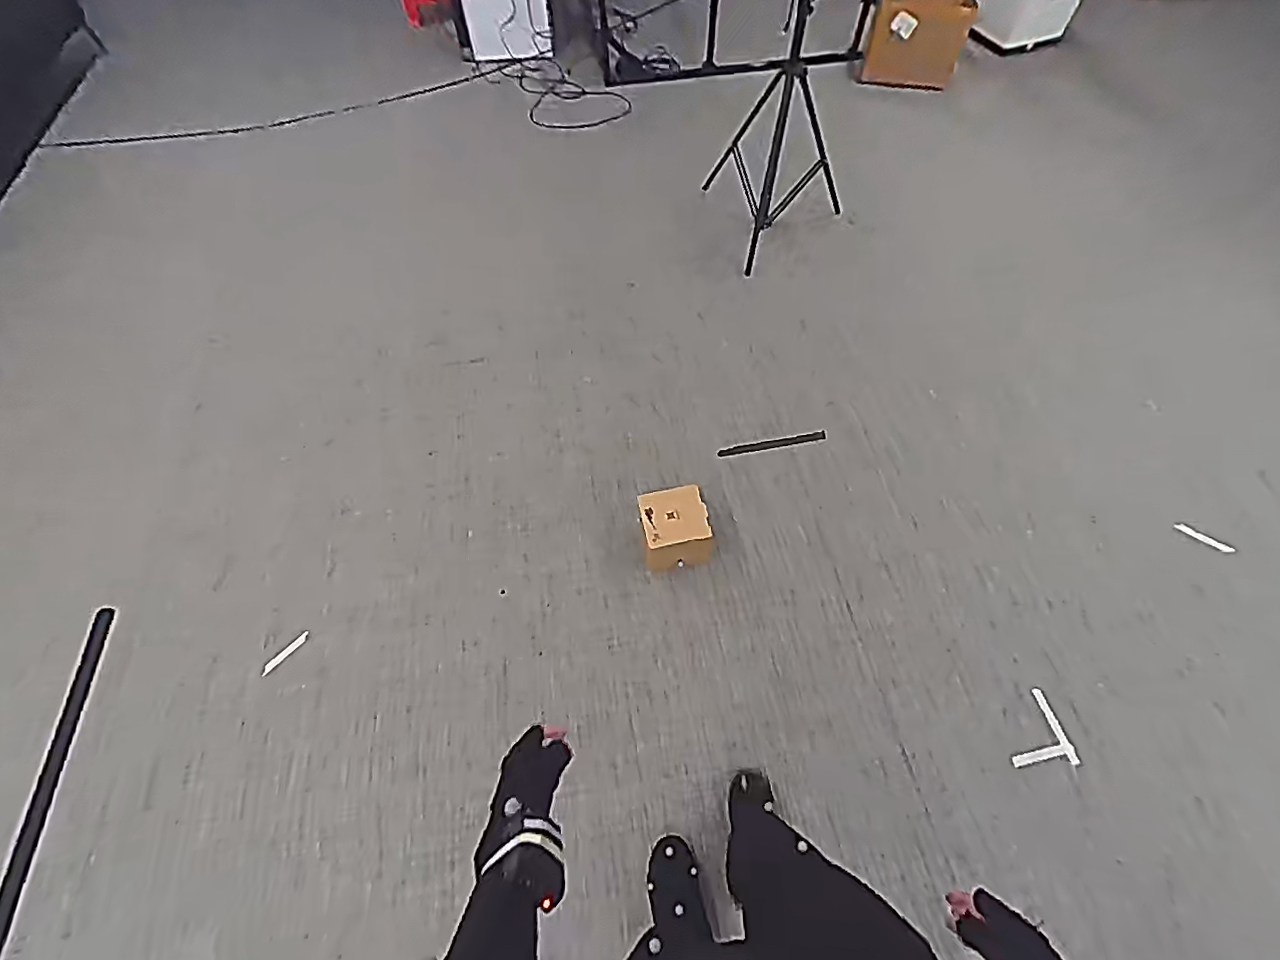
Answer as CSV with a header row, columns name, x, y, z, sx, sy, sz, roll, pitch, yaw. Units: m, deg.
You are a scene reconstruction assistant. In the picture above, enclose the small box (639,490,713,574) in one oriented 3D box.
name,x,y,z,sx,sy,sz,roll,pitch,yaw
small box,0.094,0.150,1.528,0.179,0.176,0.168,-10,60,-5
